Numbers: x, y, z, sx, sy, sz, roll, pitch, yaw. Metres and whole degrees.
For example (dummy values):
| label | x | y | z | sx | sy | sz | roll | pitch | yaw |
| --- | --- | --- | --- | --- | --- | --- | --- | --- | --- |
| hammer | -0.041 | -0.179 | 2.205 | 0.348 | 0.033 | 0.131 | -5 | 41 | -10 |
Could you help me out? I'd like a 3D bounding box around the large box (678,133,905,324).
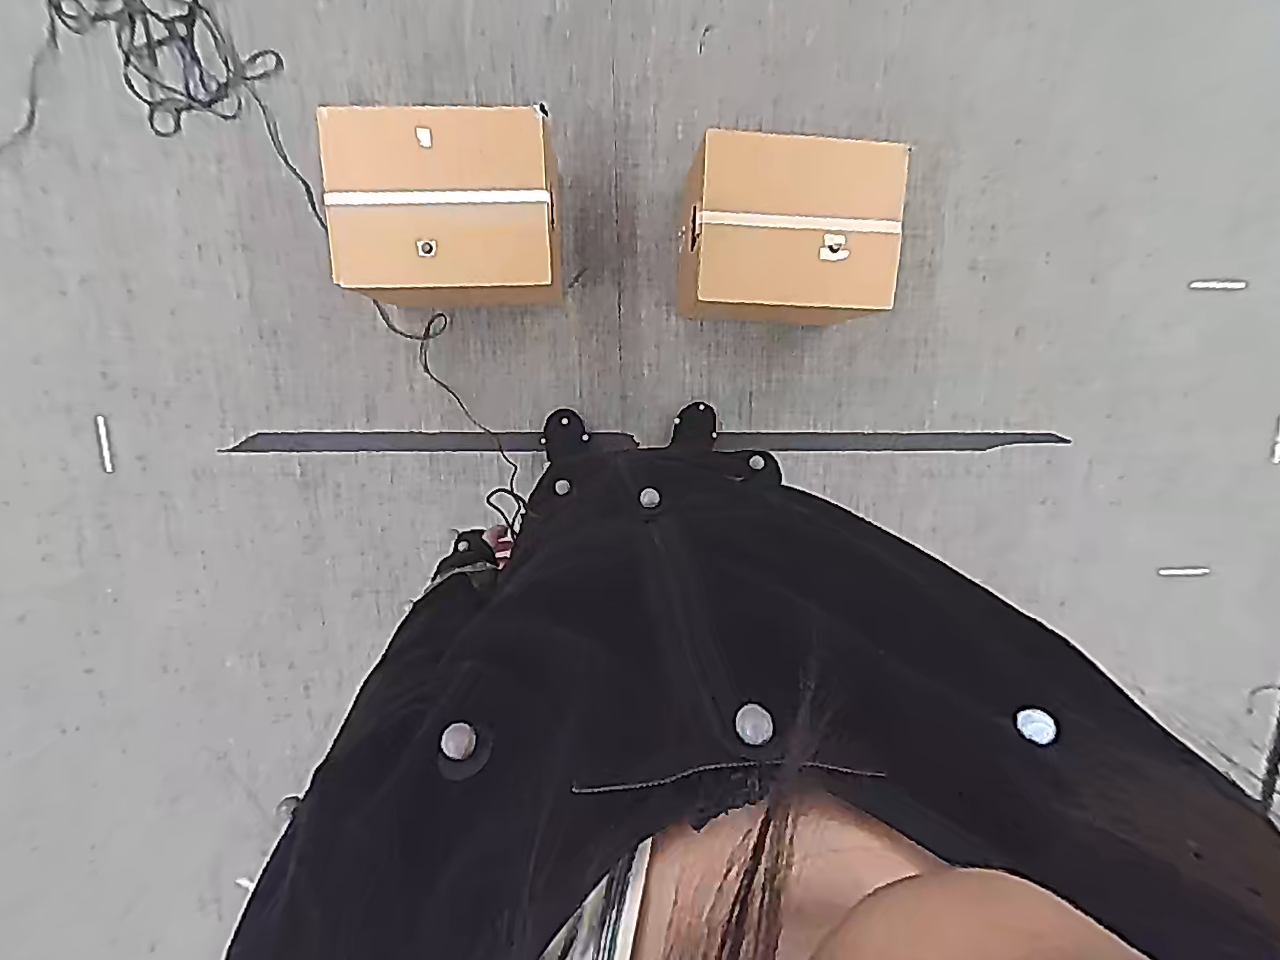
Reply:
| label | x | y | z | sx | sy | sz | roll | pitch | yaw |
| --- | --- | --- | --- | --- | --- | --- | --- | --- | --- |
| large box | 0.306 | -0.532 | 1.215 | 0.408 | 0.320 | 0.320 | 1 | 100 | -5 |
